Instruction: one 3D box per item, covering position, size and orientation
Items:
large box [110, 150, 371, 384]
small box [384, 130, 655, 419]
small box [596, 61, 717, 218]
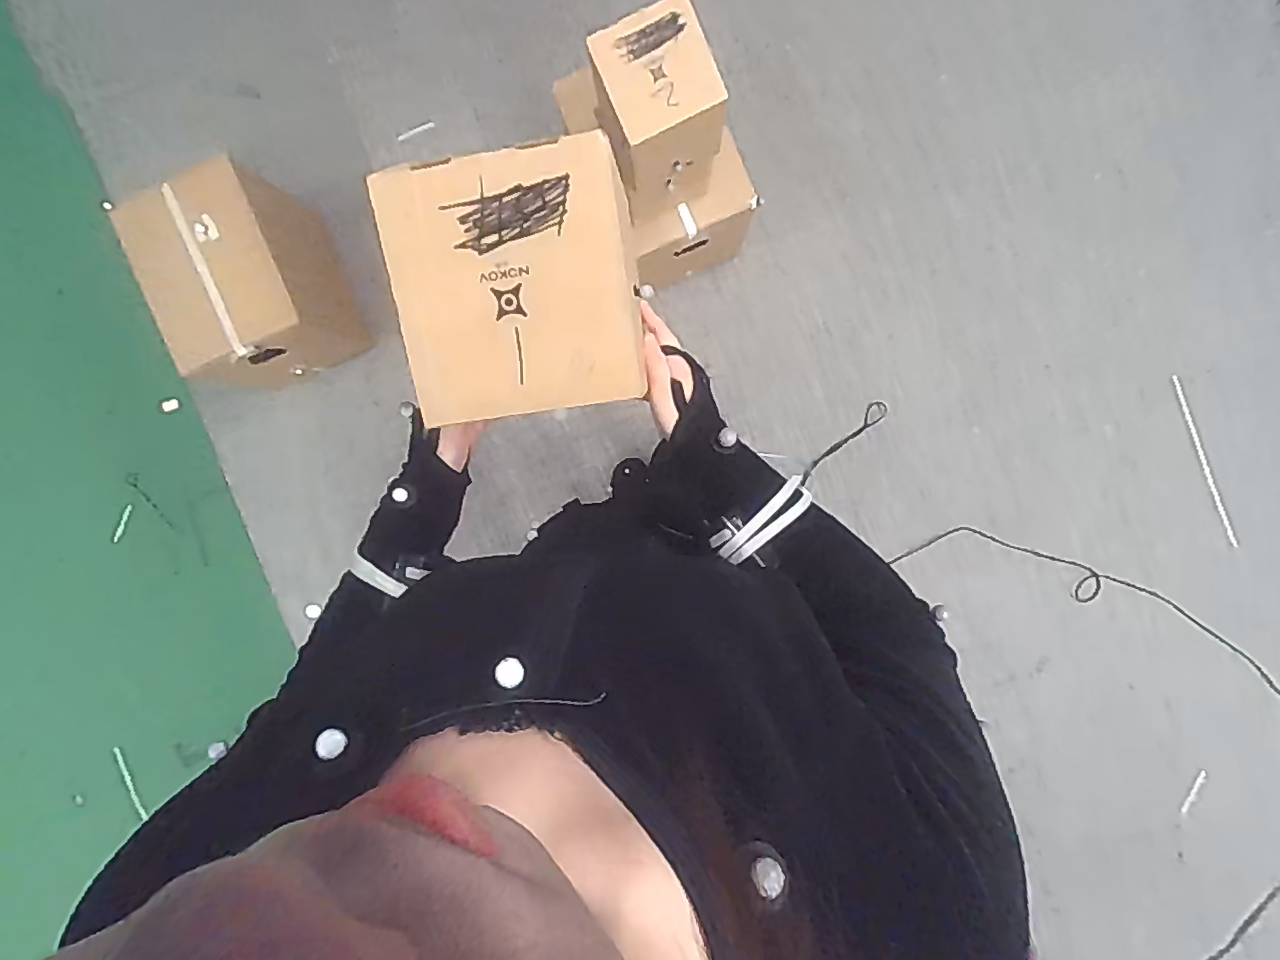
[{"bbox_3d":[-0.960,-0.495,1.349,0.320,0.320,0.408,-22,92,4],"label":"large box"},{"bbox_3d":[-0.079,-0.155,0.455,0.168,0.176,0.179,-7,104,6],"label":"small box"},{"bbox_3d":[0.033,-0.649,1.054,0.179,0.176,0.168,-24,93,6],"label":"small box"}]
